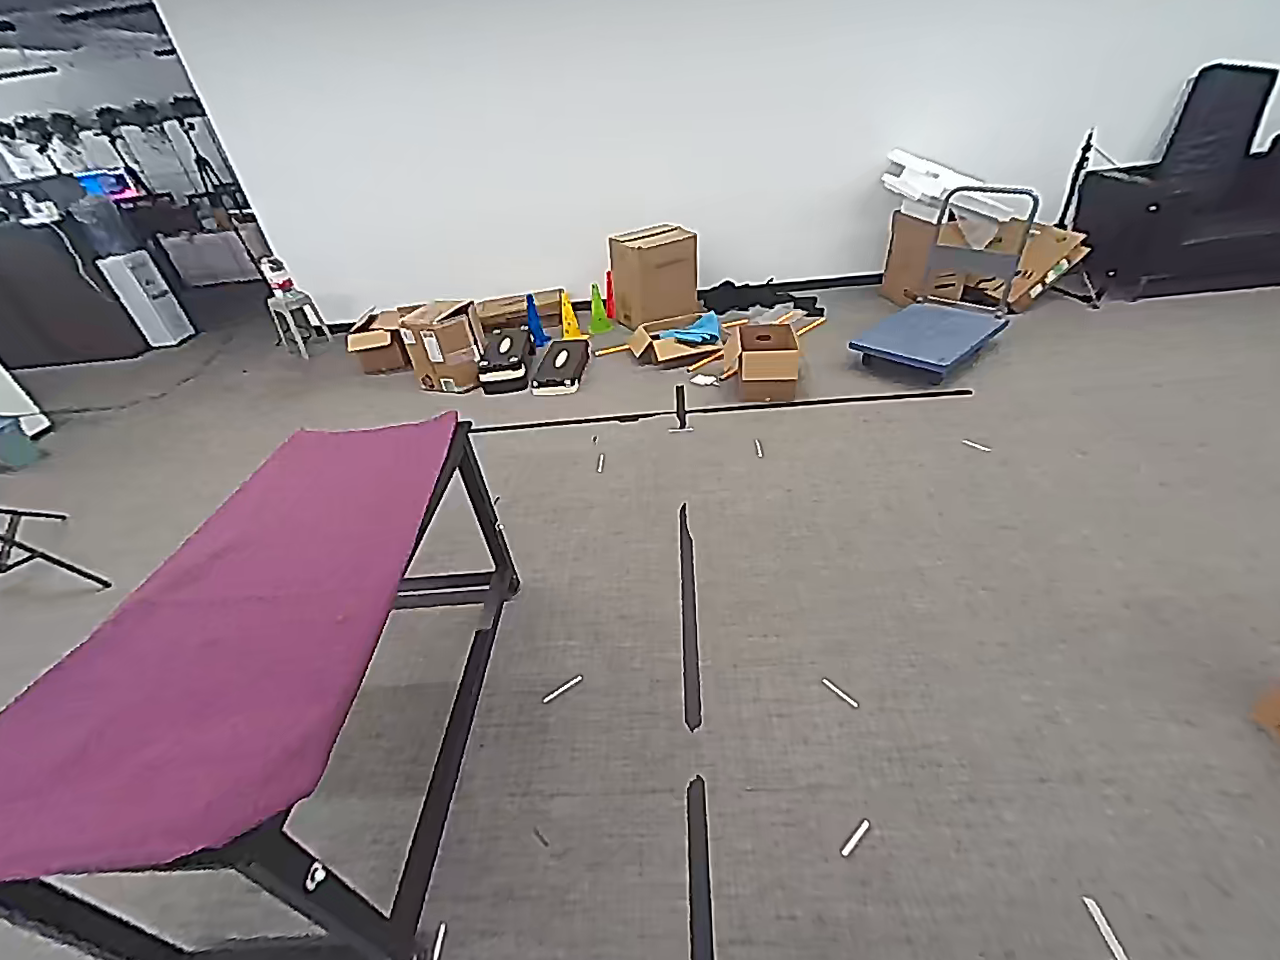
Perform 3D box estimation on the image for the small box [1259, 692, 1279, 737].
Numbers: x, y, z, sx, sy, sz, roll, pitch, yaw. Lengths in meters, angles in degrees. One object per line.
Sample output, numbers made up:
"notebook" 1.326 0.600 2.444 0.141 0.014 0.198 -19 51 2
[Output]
"small box" 1.751 0.602 1.358 0.179 0.176 0.168 -8 36 0
